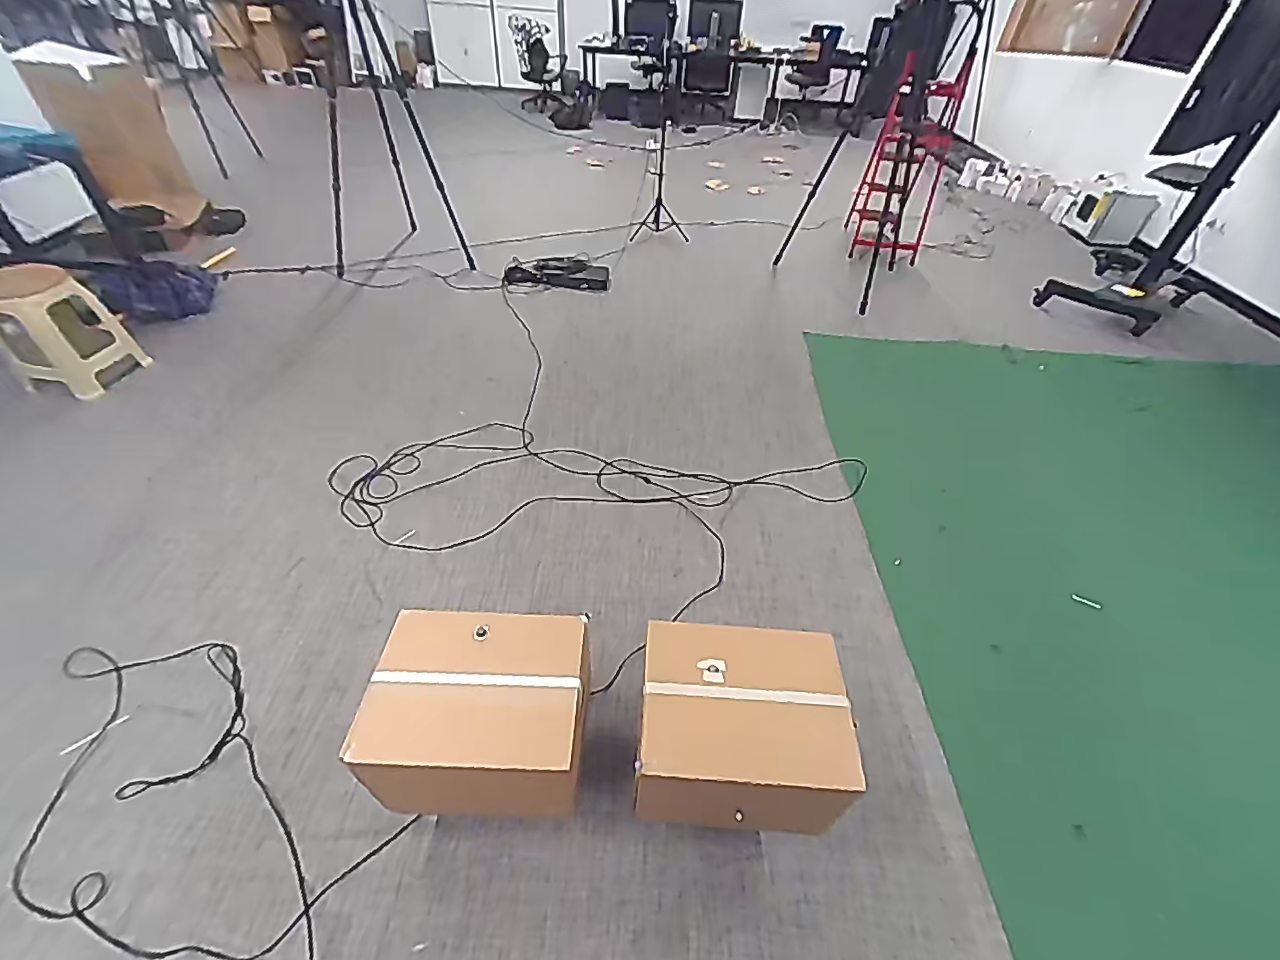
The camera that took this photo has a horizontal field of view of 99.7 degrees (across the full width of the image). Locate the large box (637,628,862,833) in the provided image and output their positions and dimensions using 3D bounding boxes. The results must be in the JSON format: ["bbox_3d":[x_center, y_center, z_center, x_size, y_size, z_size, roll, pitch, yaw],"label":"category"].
[{"bbox_3d":[0.206,0.548,1.178,0.408,0.320,0.320,4,43,1],"label":"large box"}]
